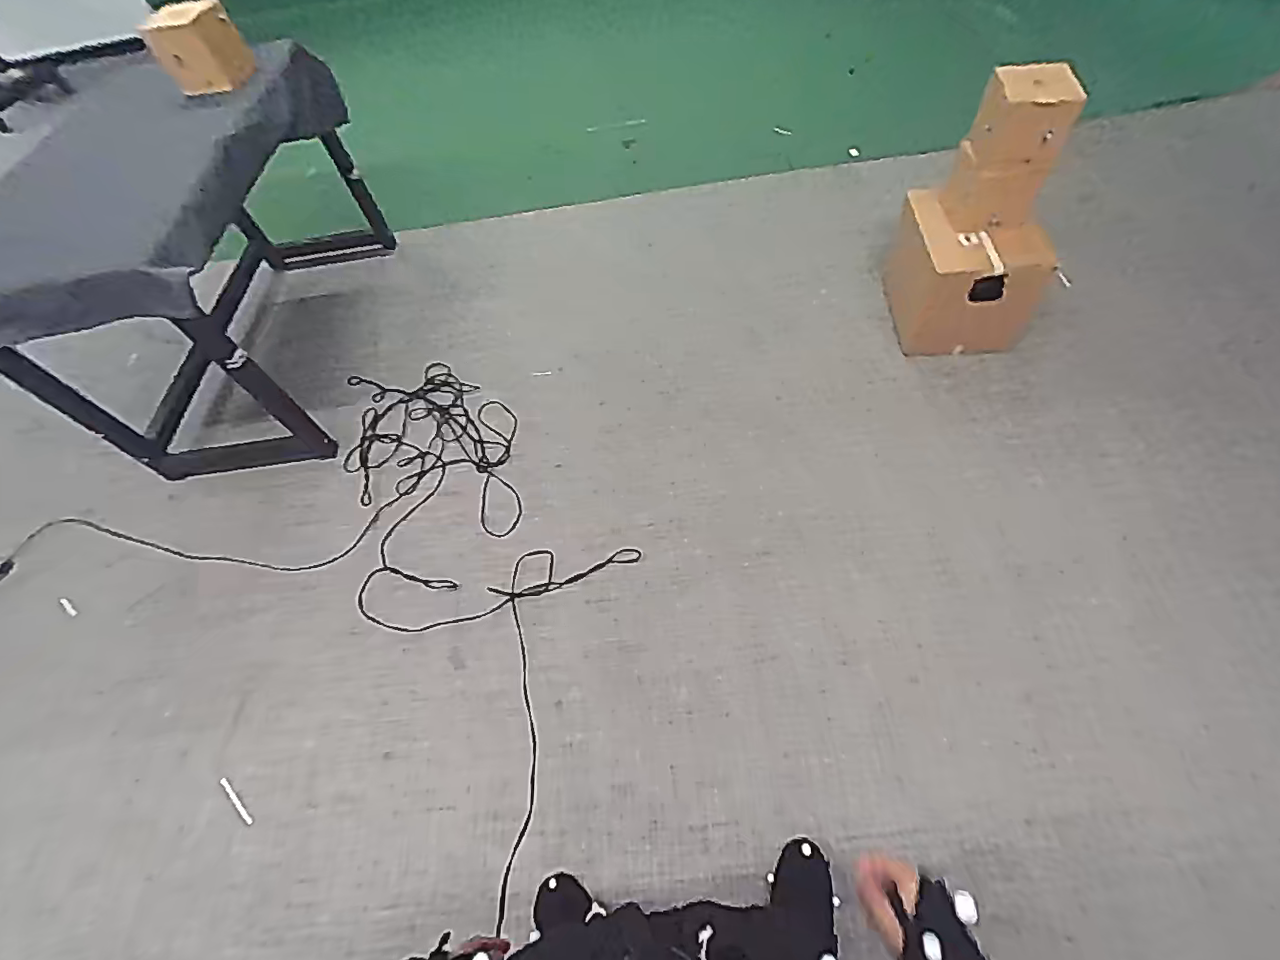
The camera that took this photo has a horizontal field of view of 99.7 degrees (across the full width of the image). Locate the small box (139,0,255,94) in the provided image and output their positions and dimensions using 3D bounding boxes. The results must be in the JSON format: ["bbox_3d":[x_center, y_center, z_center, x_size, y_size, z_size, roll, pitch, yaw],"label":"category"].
[{"bbox_3d":[-1.285,-1.262,1.586,0.168,0.176,0.179,-2,57,7],"label":"small box"}]

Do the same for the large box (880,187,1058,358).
[{"bbox_3d":[0.976,-0.637,1.672,0.320,0.320,0.408,-2,59,7],"label":"large box"}]

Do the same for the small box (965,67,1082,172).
[{"bbox_3d":[0.949,-0.898,1.356,0.168,0.176,0.179,3,58,8],"label":"small box"}]
